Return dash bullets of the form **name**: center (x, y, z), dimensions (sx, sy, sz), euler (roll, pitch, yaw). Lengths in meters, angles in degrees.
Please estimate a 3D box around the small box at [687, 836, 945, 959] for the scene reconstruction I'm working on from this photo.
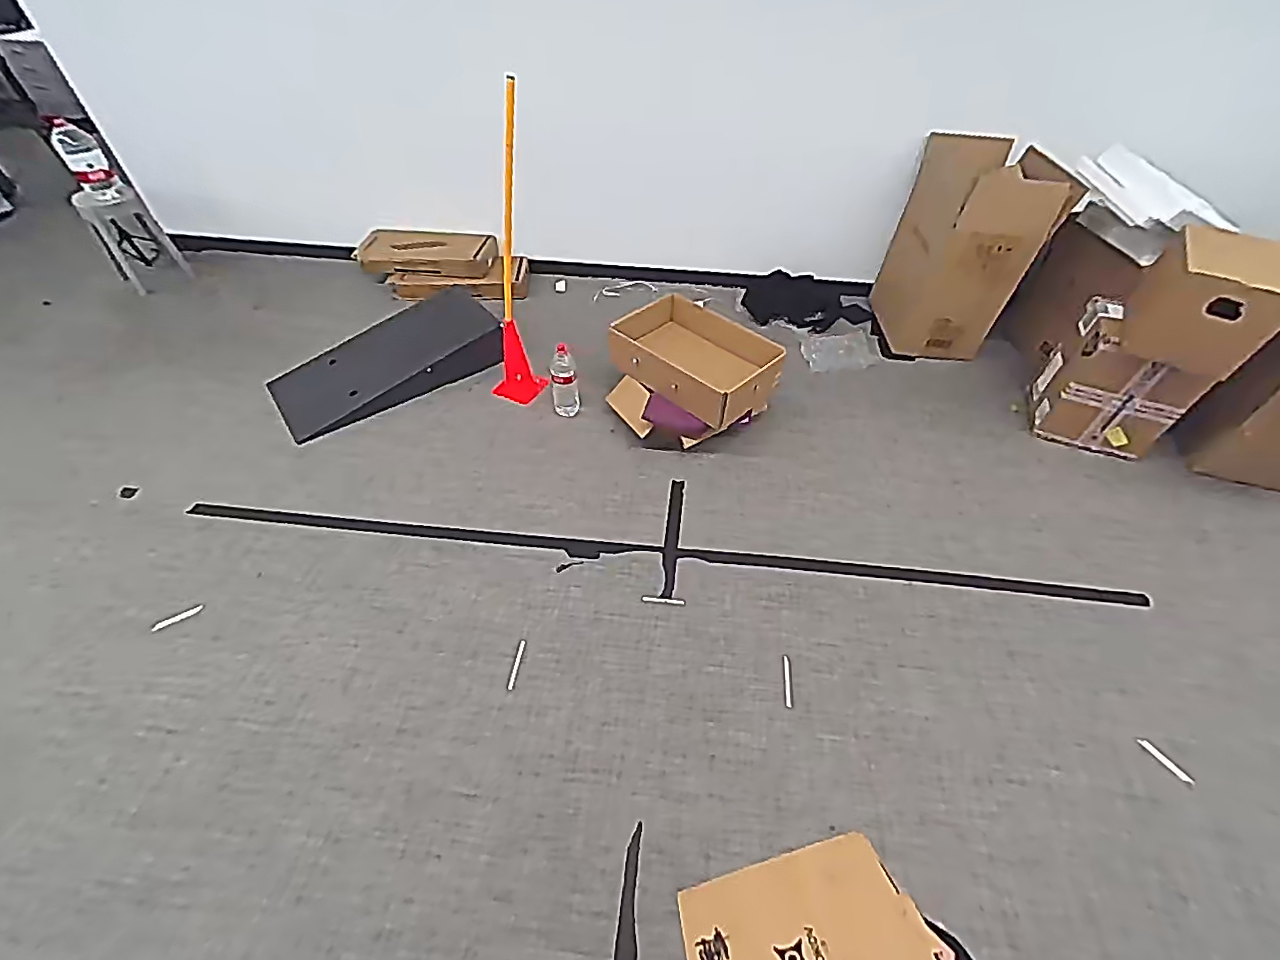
- **small box**: center (0.150, 0.432, 0.417), dimensions (0.179, 0.176, 0.168), euler (-17, 9, -1)
